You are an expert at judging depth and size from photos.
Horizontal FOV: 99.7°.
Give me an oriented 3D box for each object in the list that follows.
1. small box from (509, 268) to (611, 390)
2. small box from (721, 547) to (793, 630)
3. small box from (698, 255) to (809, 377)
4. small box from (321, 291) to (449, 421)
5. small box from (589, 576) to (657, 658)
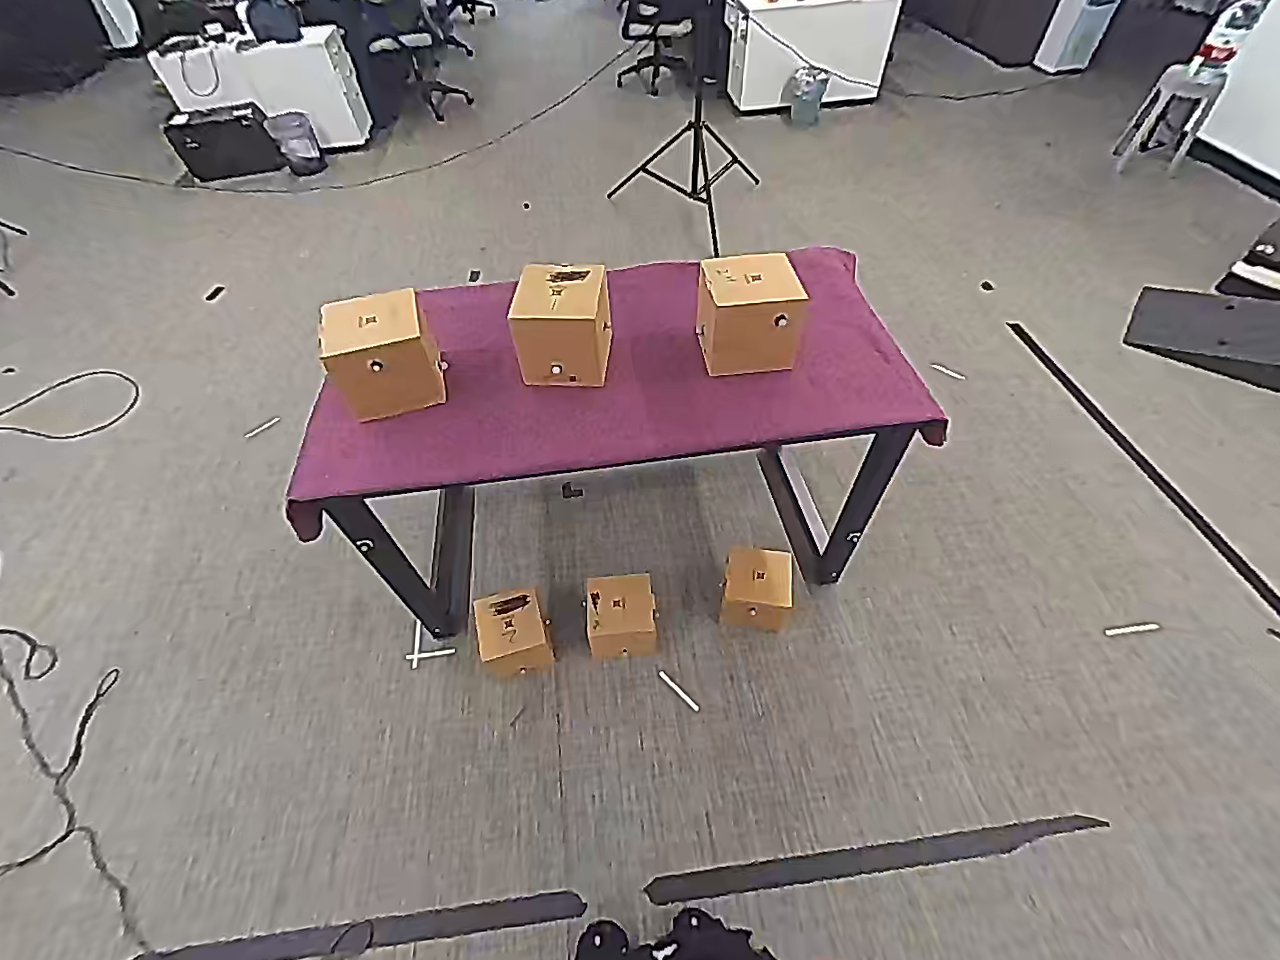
[{"bbox_3d":[-0.151,-0.305,1.094,0.168,0.176,0.179,2,53,4],"label":"small box"},{"bbox_3d":[0.326,0.309,1.519,0.179,0.176,0.168,5,53,9],"label":"small box"},{"bbox_3d":[0.219,-0.329,1.094,0.179,0.176,0.168,-6,51,-2],"label":"small box"},{"bbox_3d":[-0.494,-0.238,1.059,0.179,0.176,0.168,-16,54,-11],"label":"small box"},{"bbox_3d":[-0.046,0.378,1.482,0.179,0.176,0.168,-4,52,-1],"label":"small box"}]
